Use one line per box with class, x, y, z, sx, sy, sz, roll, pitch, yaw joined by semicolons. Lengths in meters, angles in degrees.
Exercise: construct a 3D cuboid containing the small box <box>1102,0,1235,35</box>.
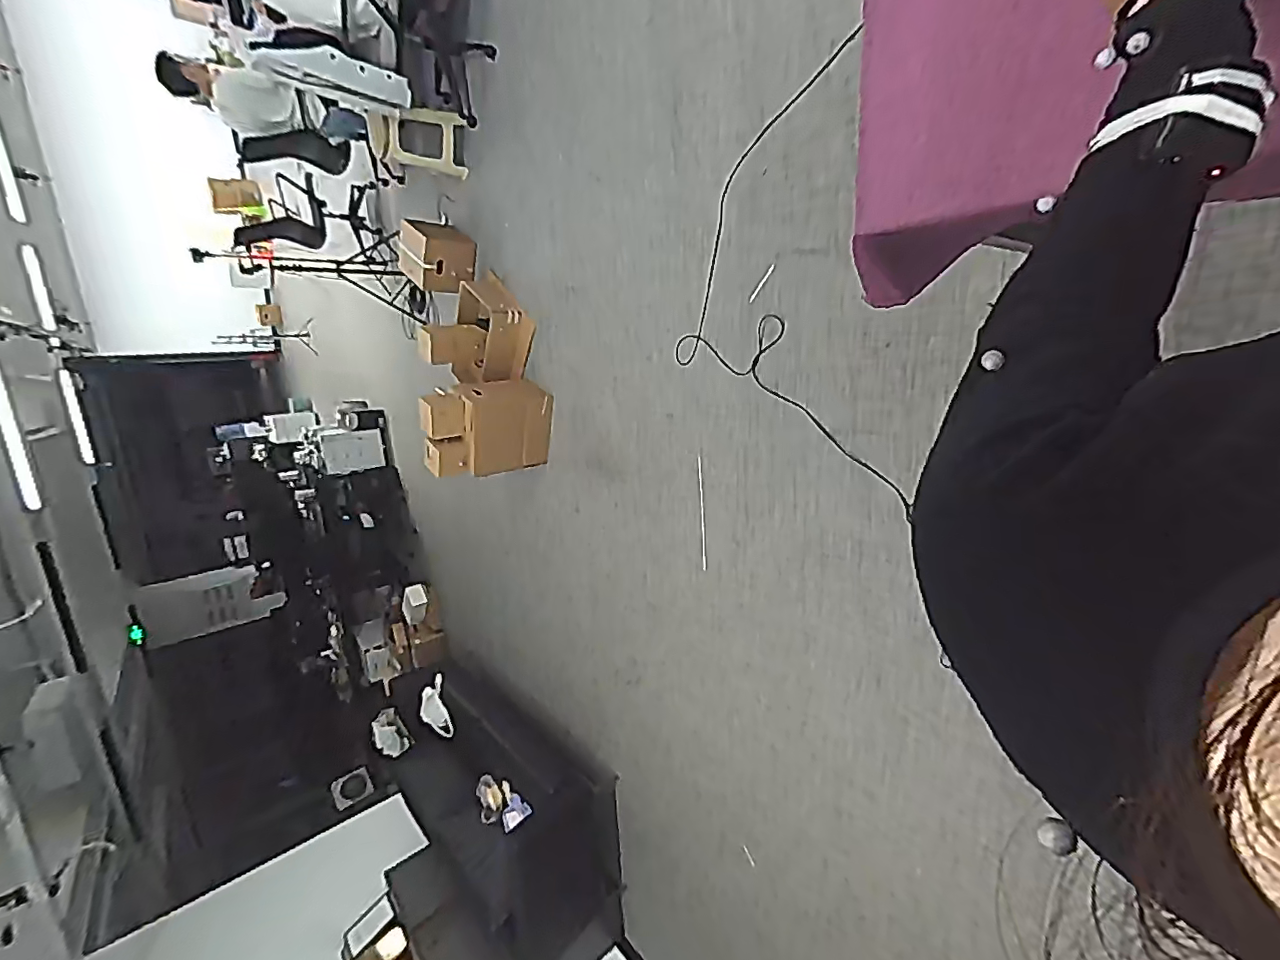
small box;0.489;-0.522;0.440;0.168;0.176;0.179;14;109;48
